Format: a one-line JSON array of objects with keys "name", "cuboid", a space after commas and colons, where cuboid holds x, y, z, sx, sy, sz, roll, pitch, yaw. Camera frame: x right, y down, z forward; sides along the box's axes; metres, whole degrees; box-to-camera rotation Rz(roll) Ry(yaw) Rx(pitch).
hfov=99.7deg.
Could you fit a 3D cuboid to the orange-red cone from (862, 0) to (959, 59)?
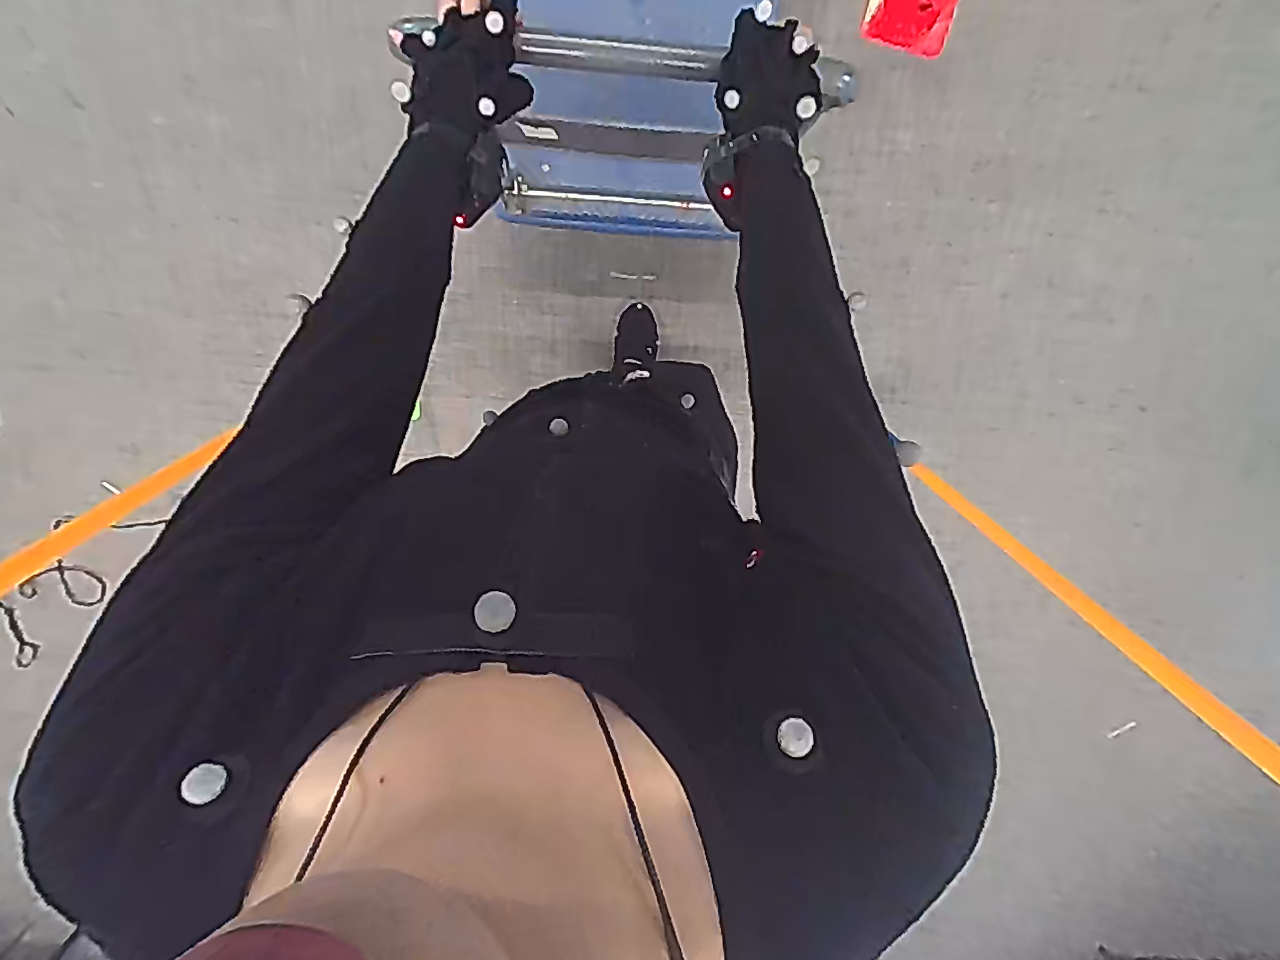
[{"name": "orange-red cone", "cuboid": [0.627, -1.049, 1.070, 0.198, 0.360, 0.199, 14, 105, -4]}]
